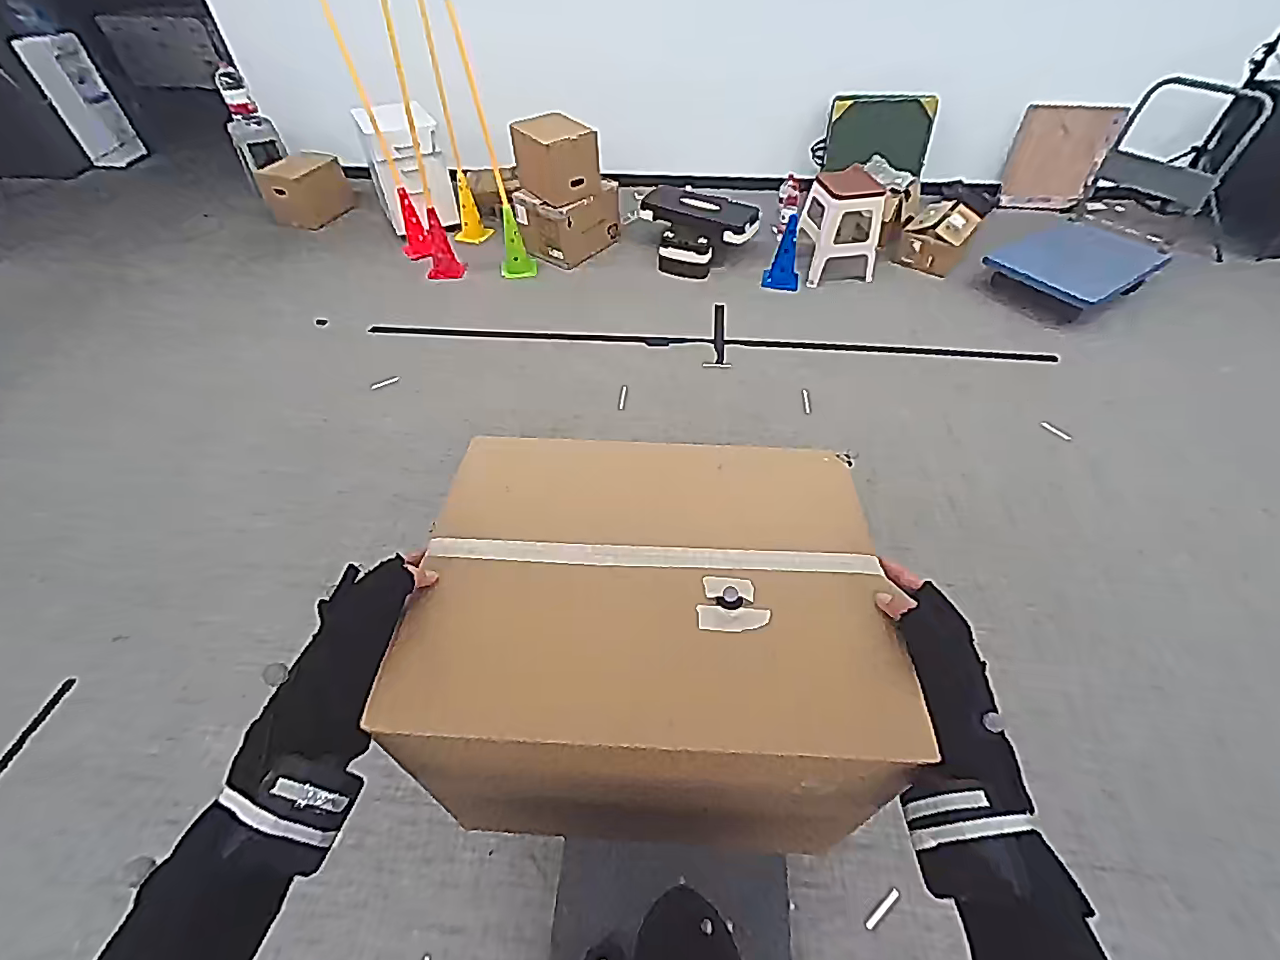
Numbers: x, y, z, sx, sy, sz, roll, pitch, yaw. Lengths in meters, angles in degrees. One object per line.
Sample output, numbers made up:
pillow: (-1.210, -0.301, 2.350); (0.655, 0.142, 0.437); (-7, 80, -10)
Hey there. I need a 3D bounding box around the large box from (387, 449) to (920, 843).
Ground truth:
large box: (0.012, 0.184, 0.605); (0.408, 0.320, 0.320); (3, 46, 2)
